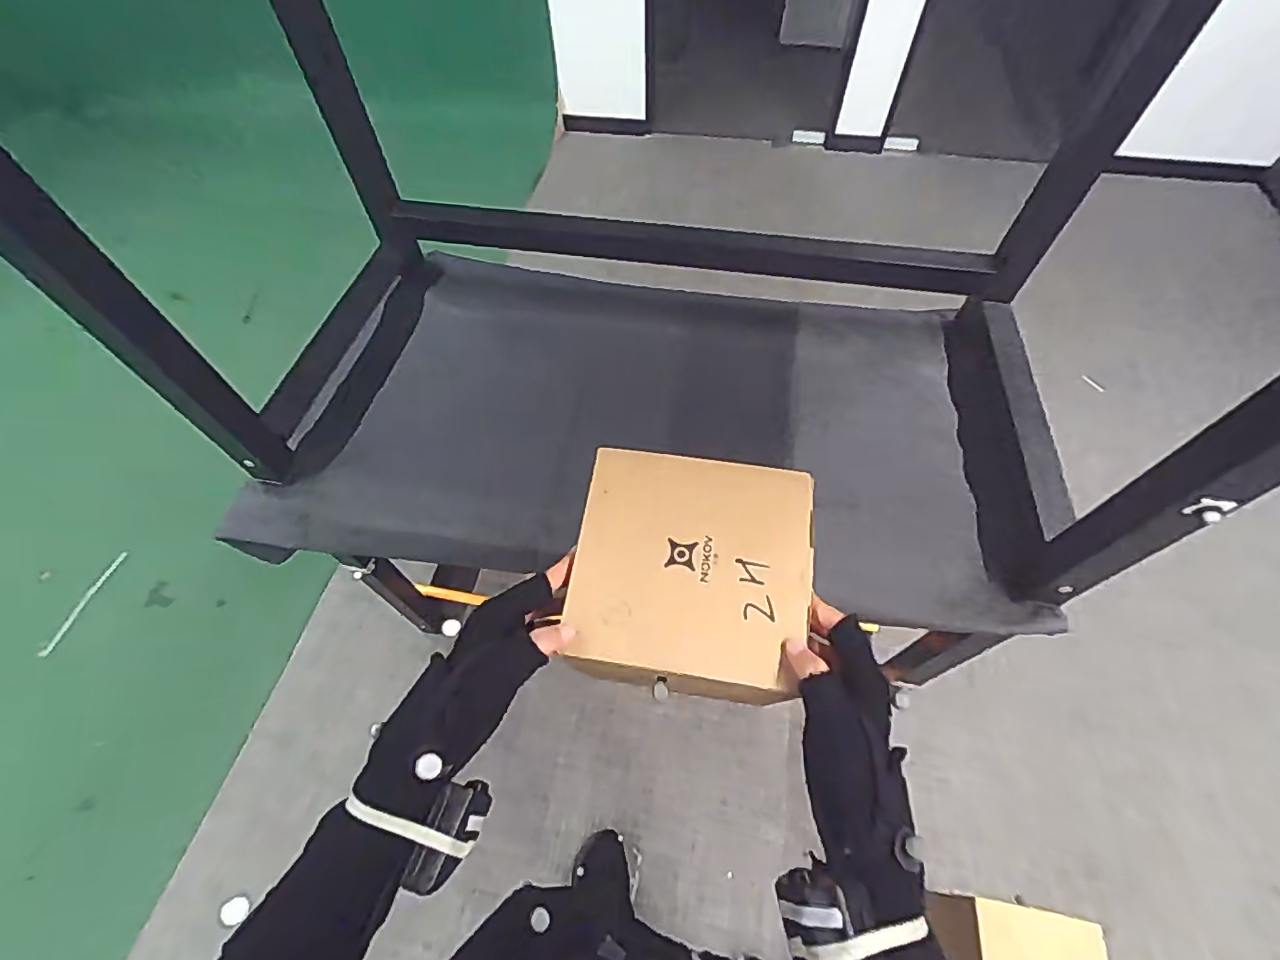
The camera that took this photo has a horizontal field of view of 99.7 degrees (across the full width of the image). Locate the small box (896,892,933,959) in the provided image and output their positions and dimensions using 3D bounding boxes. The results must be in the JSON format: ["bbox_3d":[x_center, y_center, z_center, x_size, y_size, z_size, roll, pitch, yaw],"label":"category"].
[{"bbox_3d":[0.543,0.807,0.892,0.168,0.176,0.179,6,56,5],"label":"small box"}]

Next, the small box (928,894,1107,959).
[{"bbox_3d":[0.528,0.710,0.762,0.168,0.176,0.179,8,57,7],"label":"small box"}]
